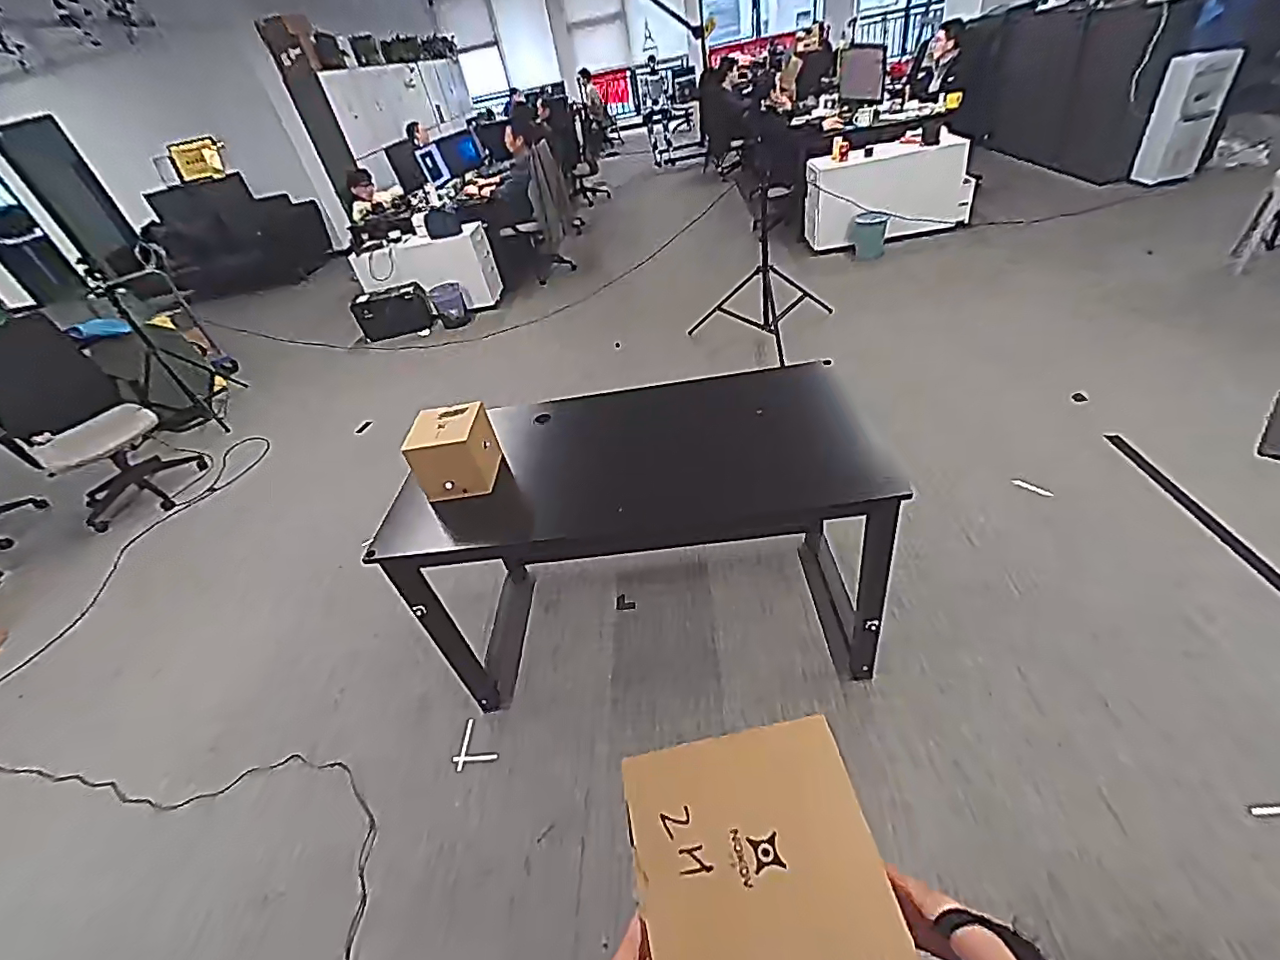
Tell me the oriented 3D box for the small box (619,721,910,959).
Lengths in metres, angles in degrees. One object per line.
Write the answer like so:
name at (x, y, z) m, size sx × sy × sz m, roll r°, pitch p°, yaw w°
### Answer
small box at (0.086, 0.327, 0.458) m, size 0.179 × 0.176 × 0.168 m, roll -12°, pitch 50°, yaw -3°

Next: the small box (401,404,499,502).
small box at (-0.470, -0.068, 1.371) m, size 0.168 × 0.176 × 0.179 m, roll -8°, pitch 40°, yaw 5°
